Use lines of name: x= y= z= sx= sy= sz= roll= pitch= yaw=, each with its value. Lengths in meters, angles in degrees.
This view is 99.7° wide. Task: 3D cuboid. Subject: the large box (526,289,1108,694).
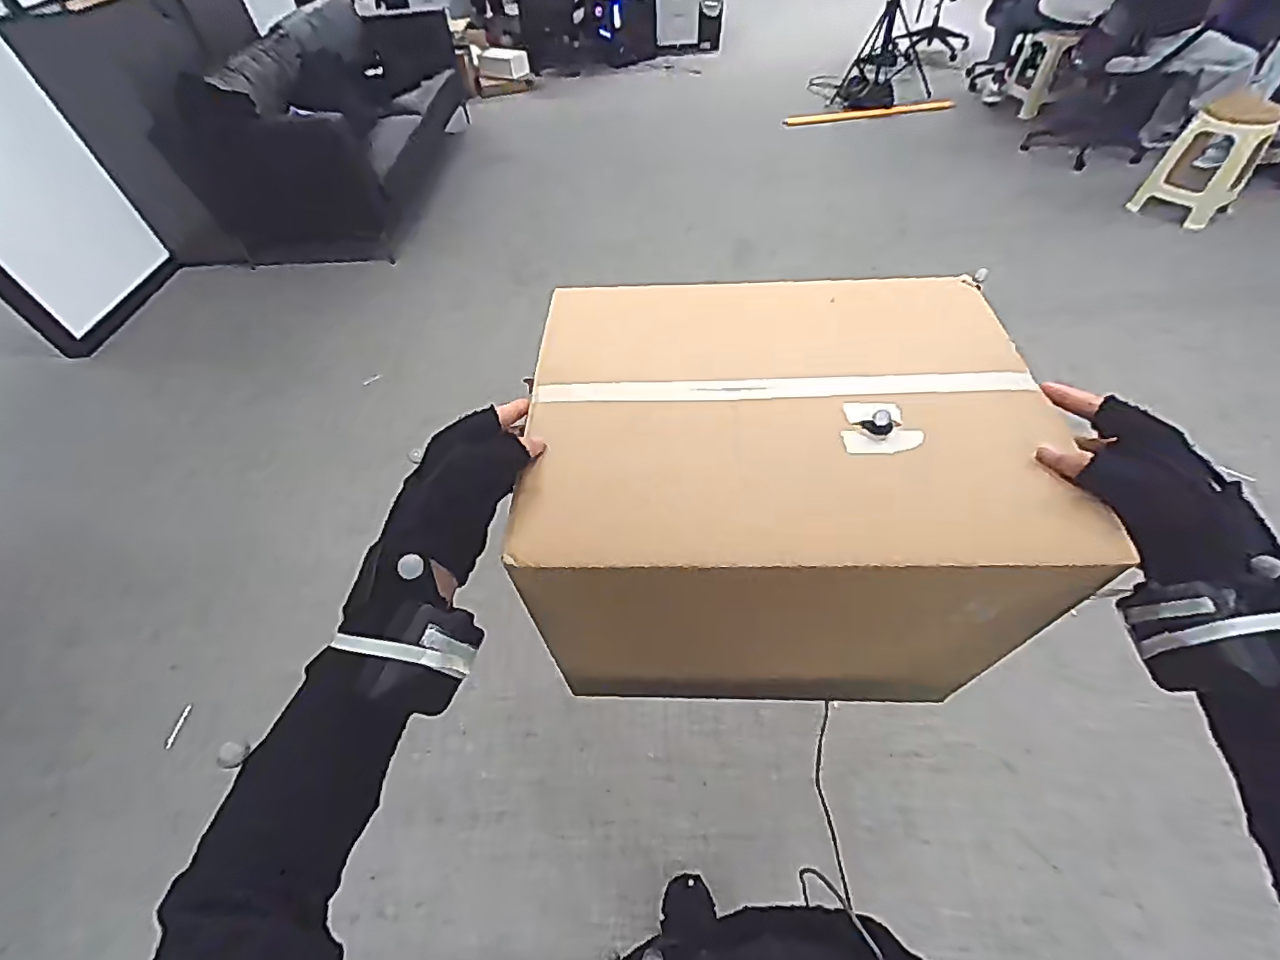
large box: x=0.122 y=0.024 z=0.573 sx=0.408 sy=0.320 sz=0.320 roll=-1 pitch=53 yaw=2
